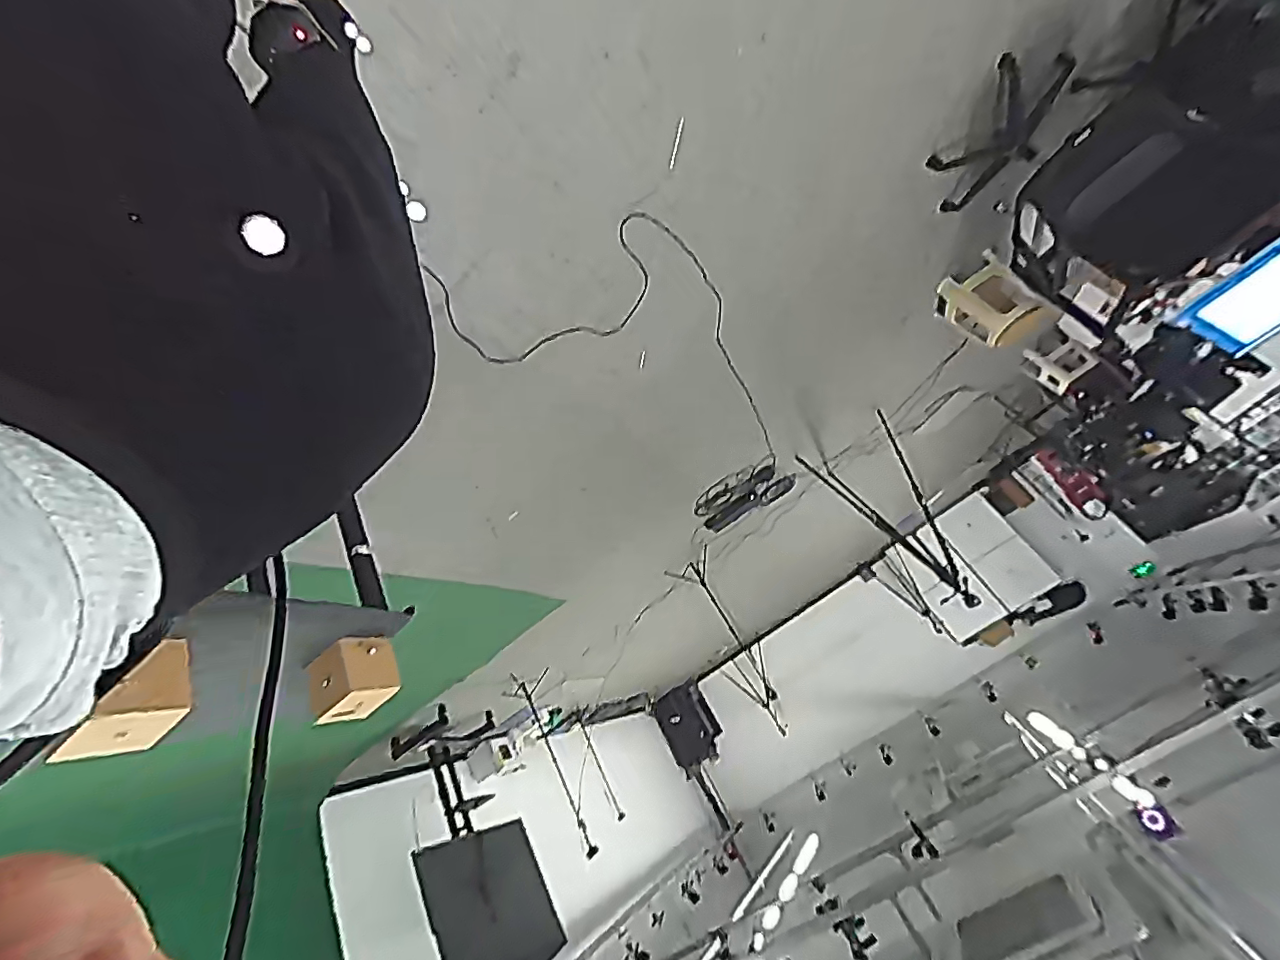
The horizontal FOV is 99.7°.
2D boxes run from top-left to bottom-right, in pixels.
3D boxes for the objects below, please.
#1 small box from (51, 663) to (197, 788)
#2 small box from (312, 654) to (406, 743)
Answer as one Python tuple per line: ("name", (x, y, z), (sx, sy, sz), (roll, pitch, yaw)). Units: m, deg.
("small box", (-1.058, 0.491, 1.111), (0.179, 0.176, 0.168), (-40, 150, 14))
("small box", (-0.812, 0.621, 1.554), (0.179, 0.176, 0.168), (-41, 151, 13))
